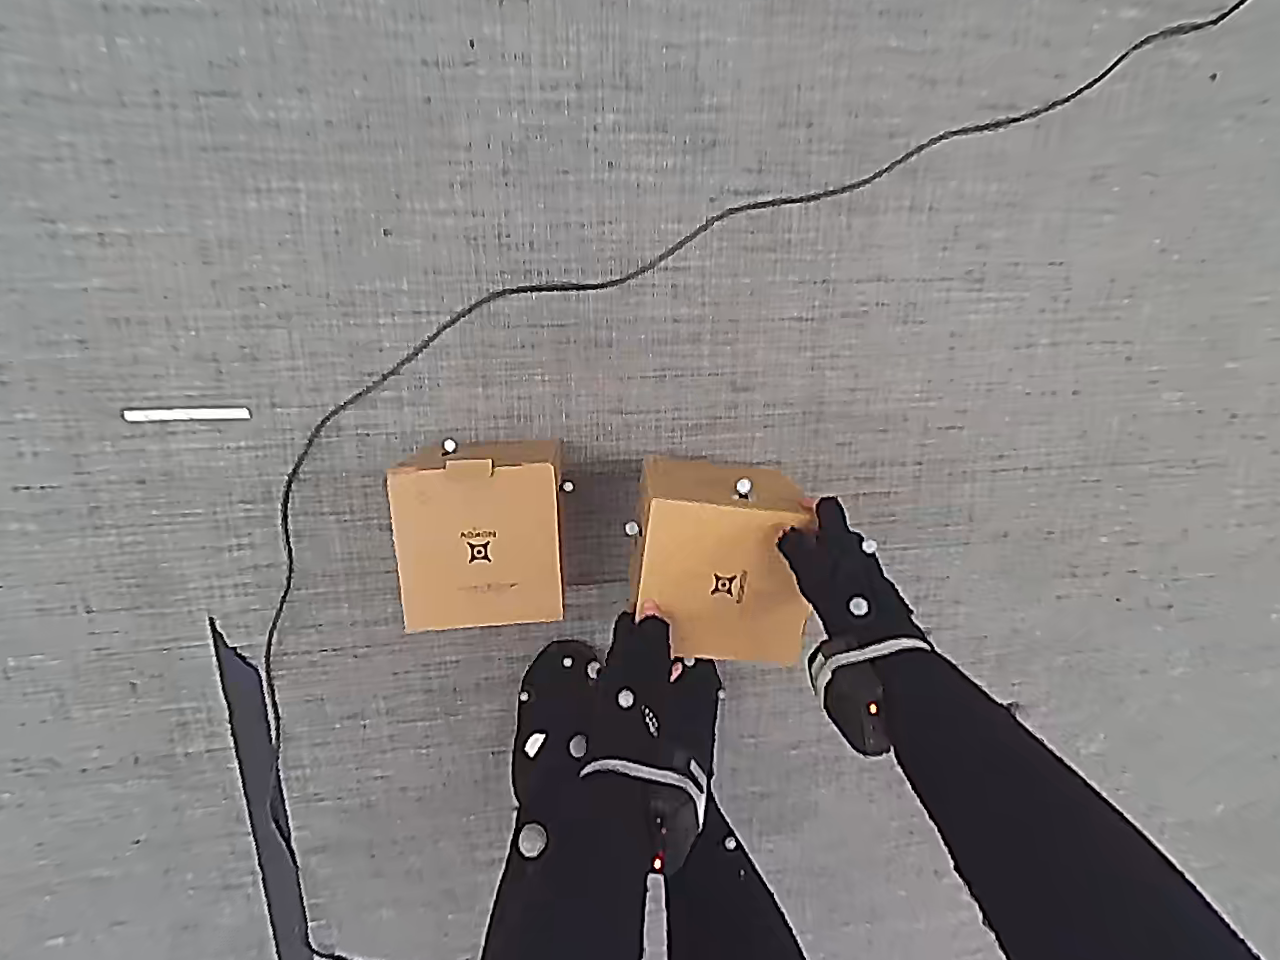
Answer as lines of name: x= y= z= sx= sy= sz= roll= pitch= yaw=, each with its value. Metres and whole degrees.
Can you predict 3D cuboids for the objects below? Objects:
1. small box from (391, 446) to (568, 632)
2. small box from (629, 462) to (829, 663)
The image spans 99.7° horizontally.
small box: x=-0.171 y=0.055 z=0.632 sx=0.168 sy=0.176 sz=0.179 roll=-2 pitch=103 yaw=-5
small box: x=0.082 y=0.081 z=0.609 sx=0.179 sy=0.176 sz=0.168 roll=5 pitch=106 yaw=-5
